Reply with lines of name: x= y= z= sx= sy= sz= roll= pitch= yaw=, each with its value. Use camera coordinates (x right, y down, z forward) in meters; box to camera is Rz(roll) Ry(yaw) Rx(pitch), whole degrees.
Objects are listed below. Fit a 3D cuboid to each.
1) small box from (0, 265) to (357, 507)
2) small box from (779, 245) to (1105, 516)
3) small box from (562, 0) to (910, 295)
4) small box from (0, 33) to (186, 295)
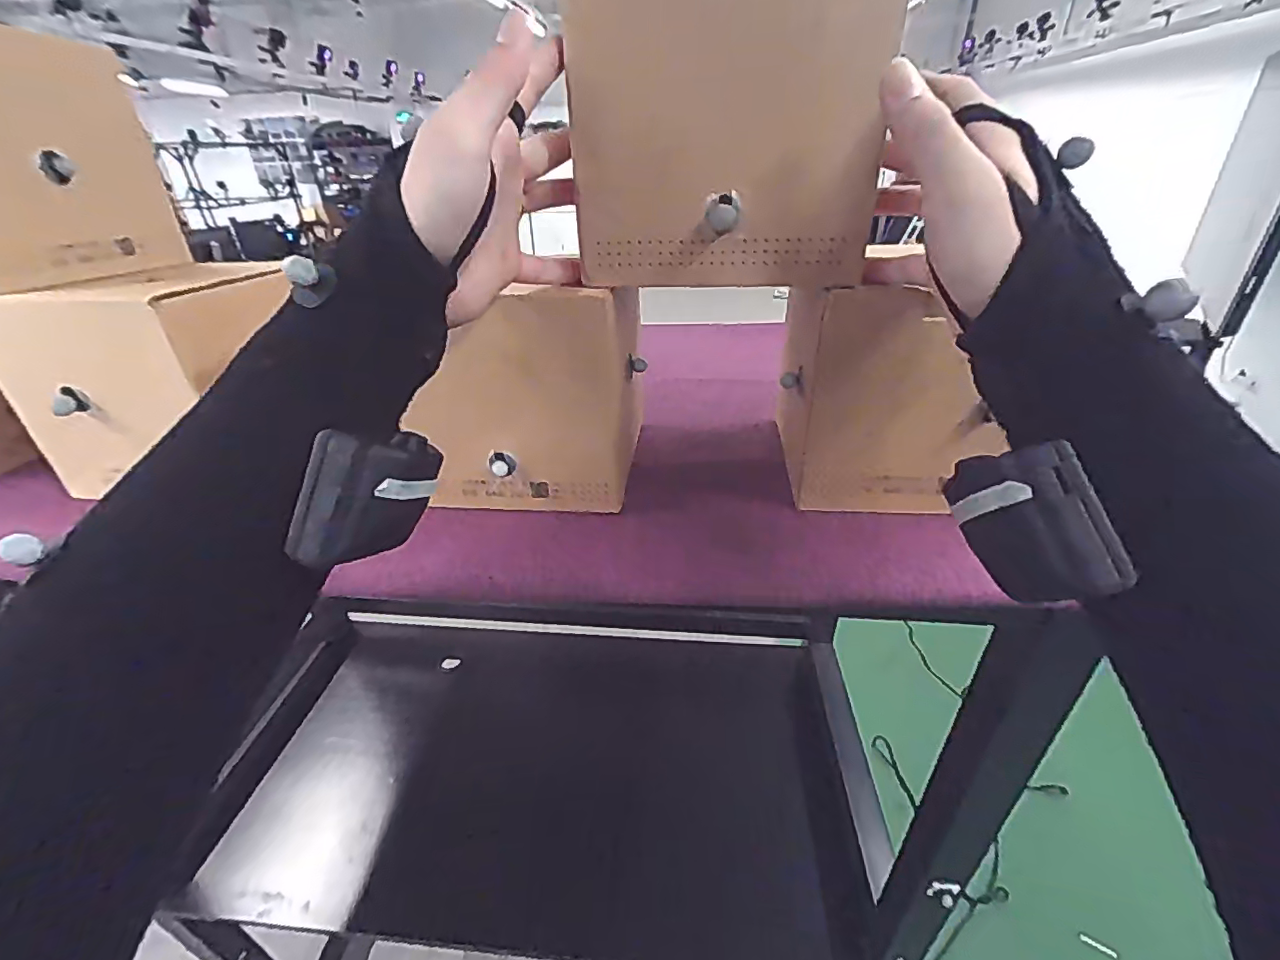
small box: x=-0.388 y=-0.088 z=0.482 sx=0.168 sy=0.176 sz=0.179 roll=1 pitch=29 yaw=7
small box: x=0.208 y=-0.085 z=0.437 sx=0.168 sy=0.176 sz=0.179 roll=2 pitch=31 yaw=7
small box: x=0.053 y=-0.228 z=0.367 sx=0.179 sy=0.176 sz=0.168 roll=1 pitch=30 yaw=5
small box: x=-0.521 y=-0.241 z=0.423 sx=0.179 sy=0.176 sz=0.168 roll=3 pitch=29 yaw=7
